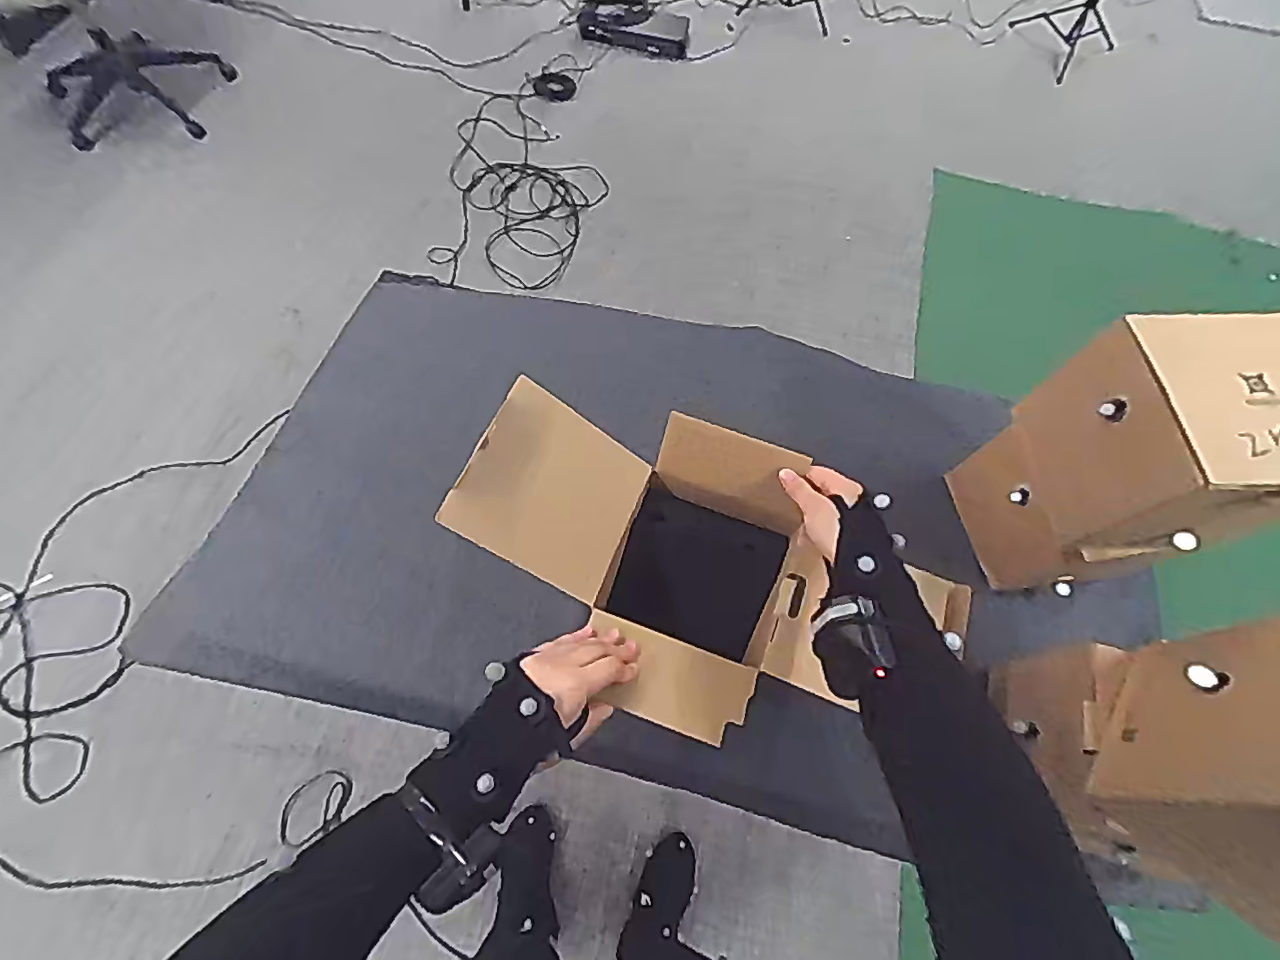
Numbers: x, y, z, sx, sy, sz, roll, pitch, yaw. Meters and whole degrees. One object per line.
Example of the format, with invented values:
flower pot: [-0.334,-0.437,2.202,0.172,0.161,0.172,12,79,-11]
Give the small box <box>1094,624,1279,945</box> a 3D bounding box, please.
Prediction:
small box: [0.499,0.231,0.398,0.179,0.176,0.168,39,67,15]

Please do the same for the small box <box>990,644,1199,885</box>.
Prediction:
small box: [0.492,0.291,0.551,0.179,0.176,0.168,19,63,7]

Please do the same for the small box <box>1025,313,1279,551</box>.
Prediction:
small box: [0.523,-0.039,0.526,0.168,0.176,0.179,-1,66,0]

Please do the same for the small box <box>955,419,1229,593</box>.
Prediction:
small box: [0.535,0.032,0.675,0.168,0.176,0.179,-6,67,-3]
